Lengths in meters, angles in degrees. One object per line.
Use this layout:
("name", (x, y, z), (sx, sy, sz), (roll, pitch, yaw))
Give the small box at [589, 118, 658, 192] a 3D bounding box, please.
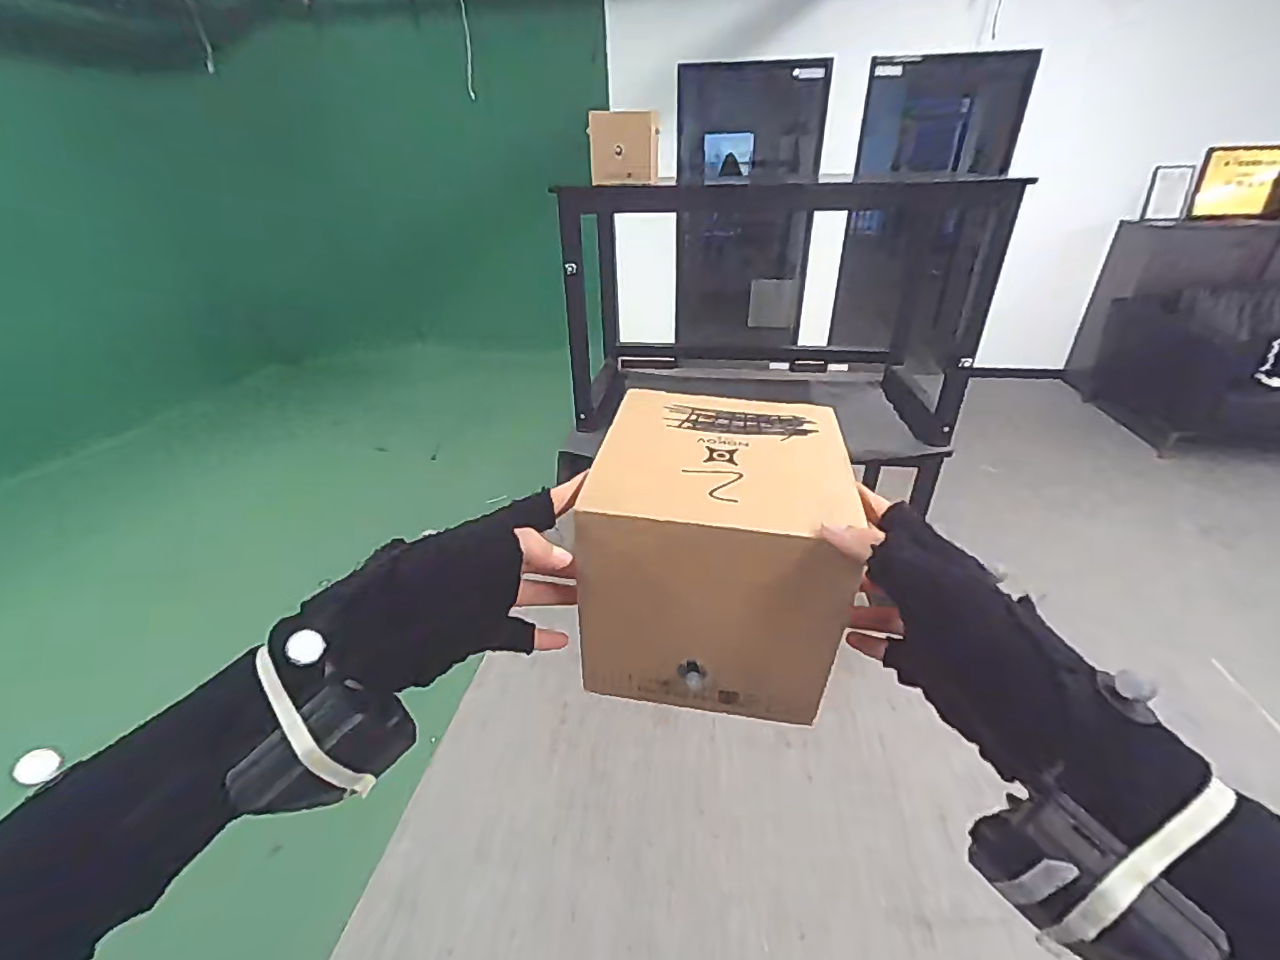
("small box", (-0.040, -0.899, 1.503), (0.168, 0.176, 0.179), (3, 30, 7))
